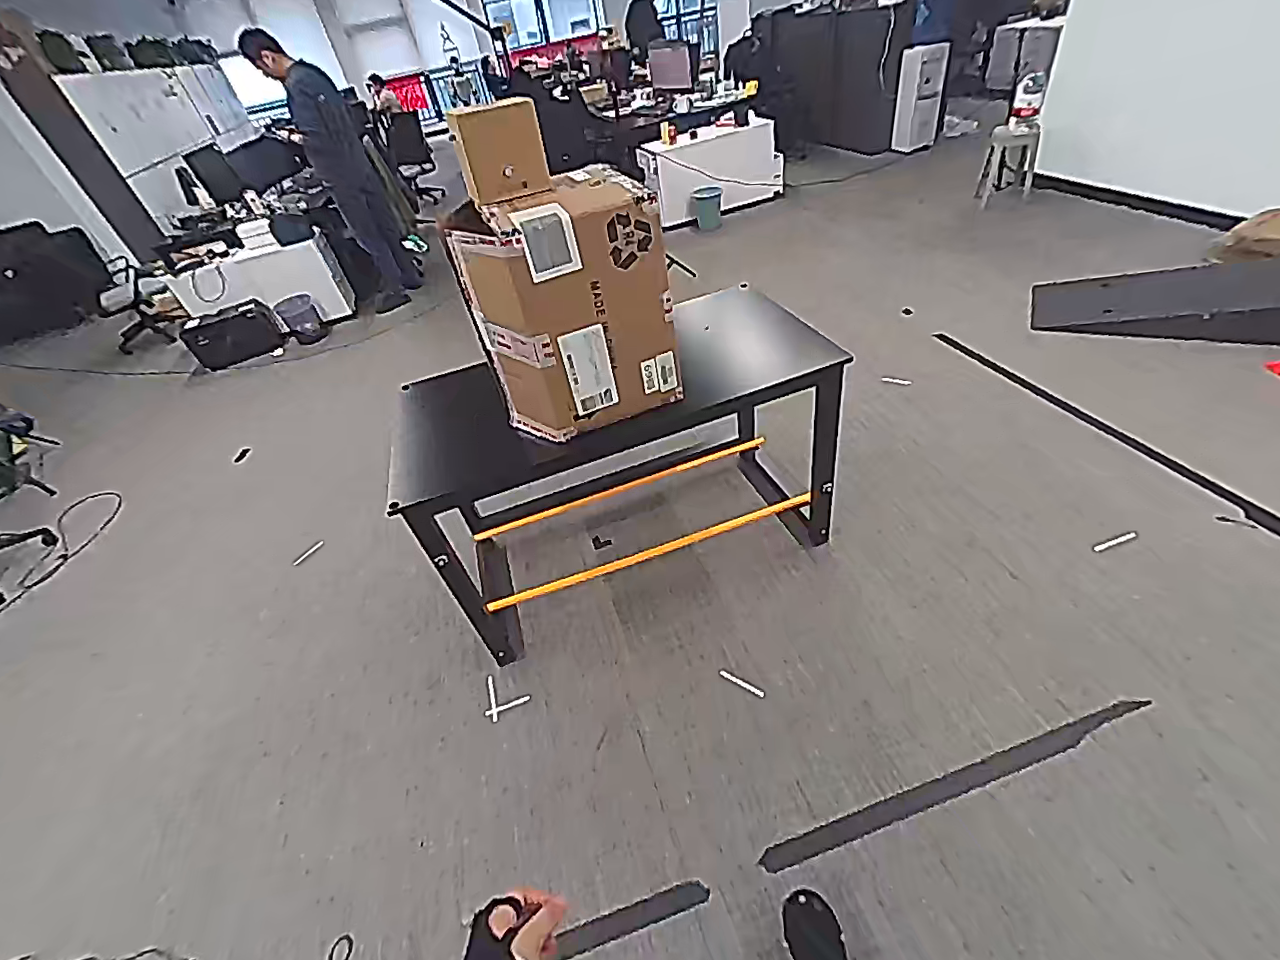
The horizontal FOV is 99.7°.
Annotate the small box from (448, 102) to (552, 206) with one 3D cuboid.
[{"bbox_3d":[-0.310,-0.722,1.199,0.168,0.176,0.179,-21,40,-13],"label":"small box"}]
